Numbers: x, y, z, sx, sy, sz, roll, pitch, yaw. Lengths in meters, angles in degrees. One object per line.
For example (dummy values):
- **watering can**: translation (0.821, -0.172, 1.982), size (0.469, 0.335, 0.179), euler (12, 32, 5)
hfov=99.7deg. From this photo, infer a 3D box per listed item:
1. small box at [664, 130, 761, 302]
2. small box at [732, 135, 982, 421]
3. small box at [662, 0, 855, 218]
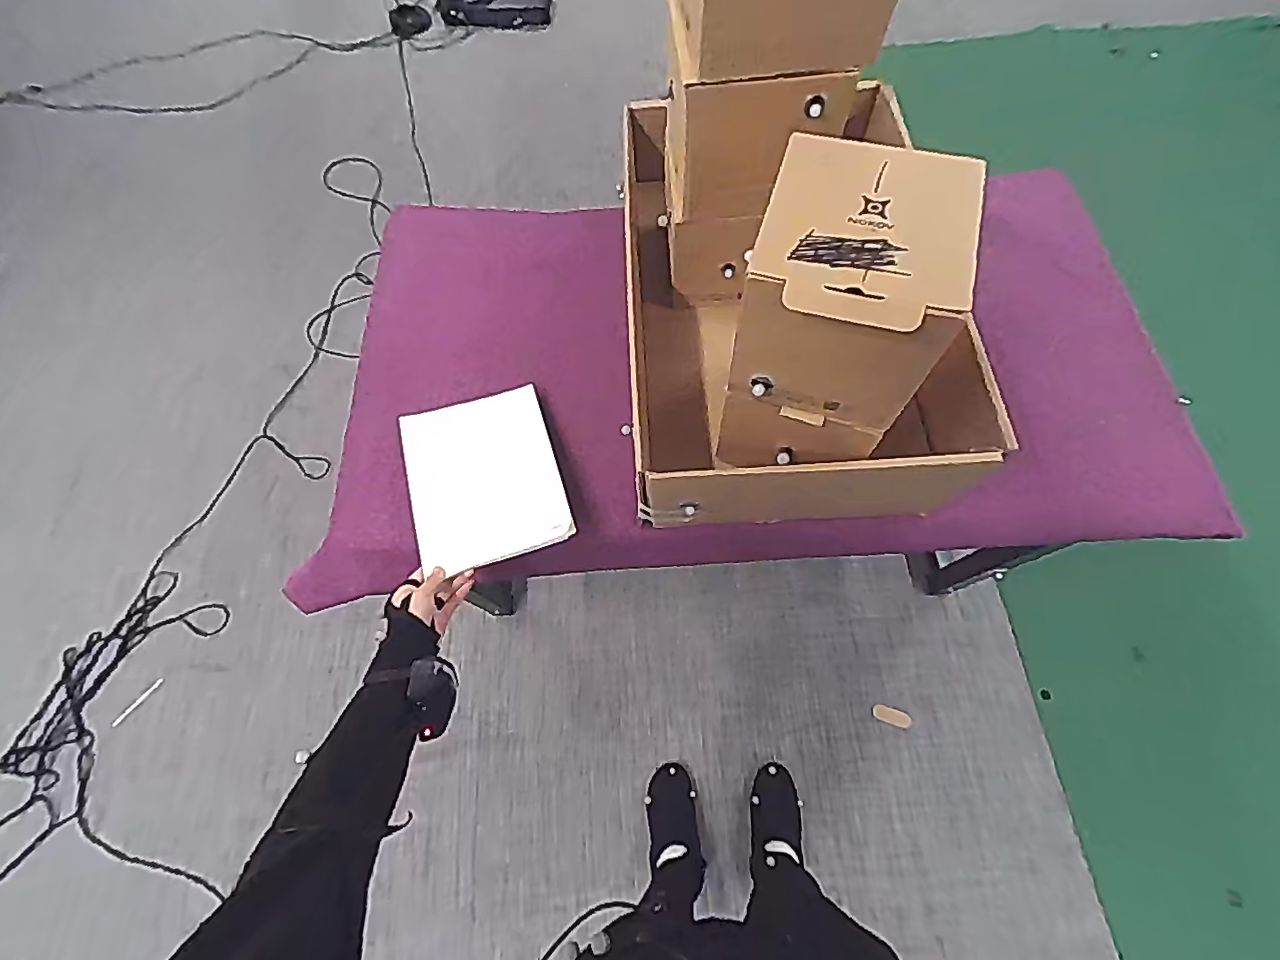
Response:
- **small box**: translation (0.122, -0.372, 0.775), size (0.168, 0.176, 0.179), euler (-3, 69, 1)
- **small box**: translation (0.188, -0.180, 0.509), size (0.168, 0.176, 0.179), euler (15, 67, 11)
- **small box**: translation (0.120, -0.430, 0.624), size (0.179, 0.176, 0.168), euler (-5, 68, 0)
